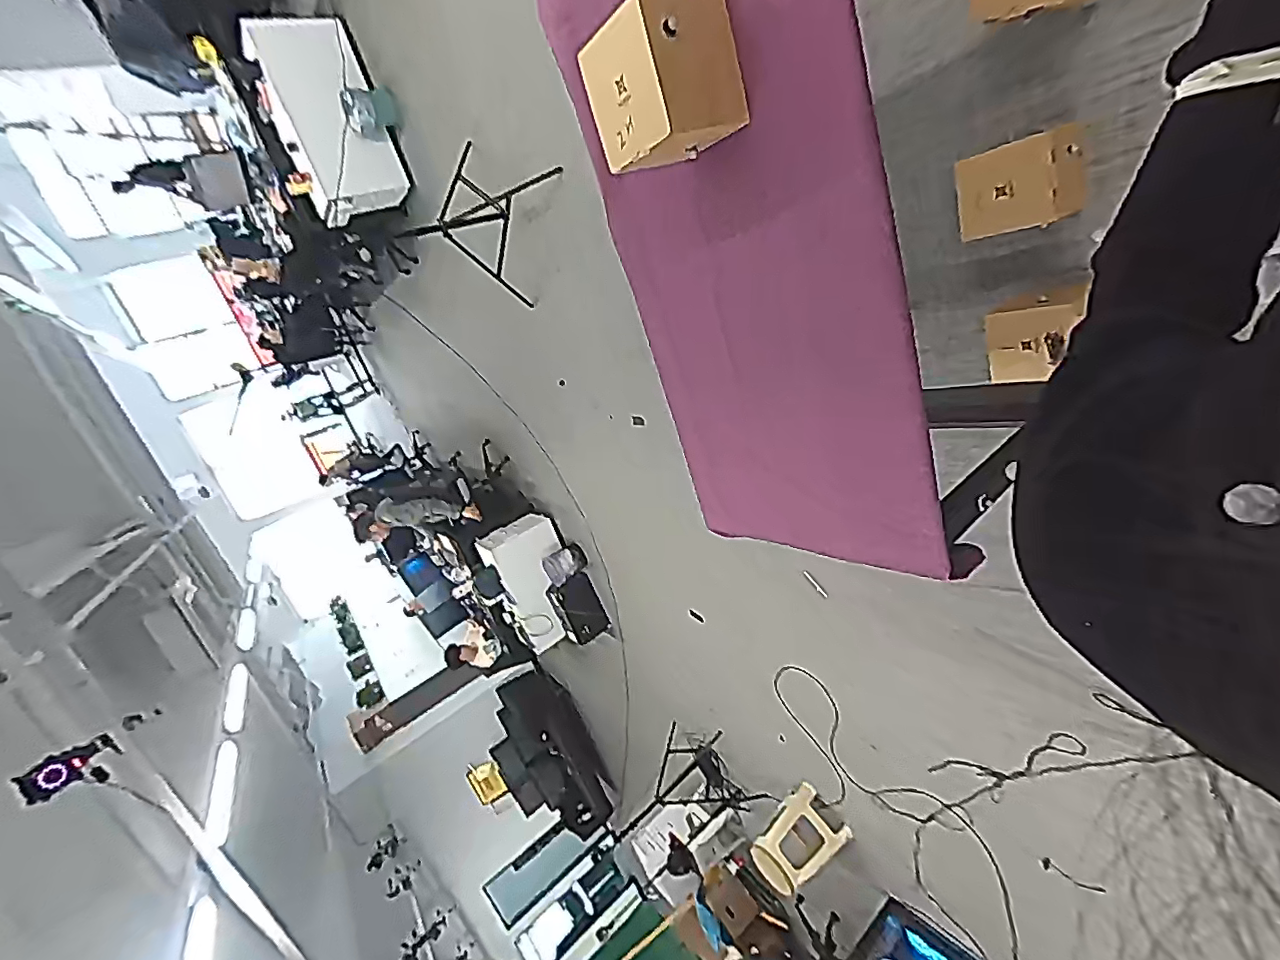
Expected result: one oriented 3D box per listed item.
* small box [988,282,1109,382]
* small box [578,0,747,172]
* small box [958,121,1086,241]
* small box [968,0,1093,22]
[{"bbox_3d":[0.915,-0.329,1.207,0.179,0.176,0.168,10,124,56],"label":"small box"},{"bbox_3d":[0.038,-0.606,0.832,0.168,0.176,0.179,11,126,55],"label":"small box"},{"bbox_3d":[0.801,-0.622,1.129,0.179,0.176,0.168,11,124,55],"label":"small box"},{"bbox_3d":[0.722,-0.946,0.962,0.168,0.176,0.179,27,138,44],"label":"small box"}]
